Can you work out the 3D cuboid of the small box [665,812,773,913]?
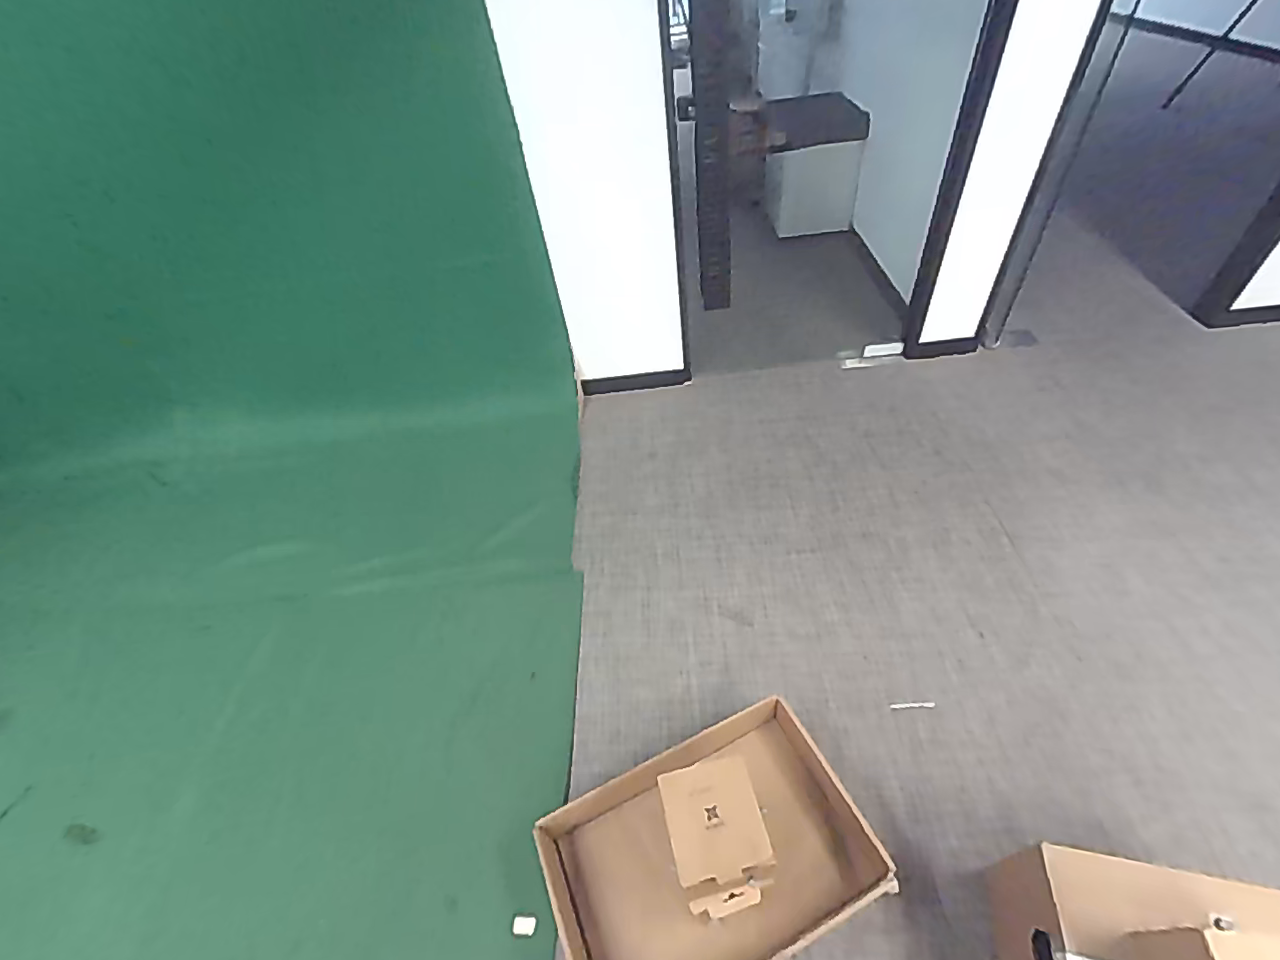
[{"bbox_3d":[0.163,0.760,1.114,0.168,0.176,0.179,-18,45,-5],"label":"small box"}]

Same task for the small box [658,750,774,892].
[{"bbox_3d":[0.140,0.640,1.007,0.168,0.176,0.179,-14,44,-4],"label":"small box"}]

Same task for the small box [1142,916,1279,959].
[{"bbox_3d":[0.816,0.692,0.704,0.179,0.176,0.168,0,48,10],"label":"small box"}]
